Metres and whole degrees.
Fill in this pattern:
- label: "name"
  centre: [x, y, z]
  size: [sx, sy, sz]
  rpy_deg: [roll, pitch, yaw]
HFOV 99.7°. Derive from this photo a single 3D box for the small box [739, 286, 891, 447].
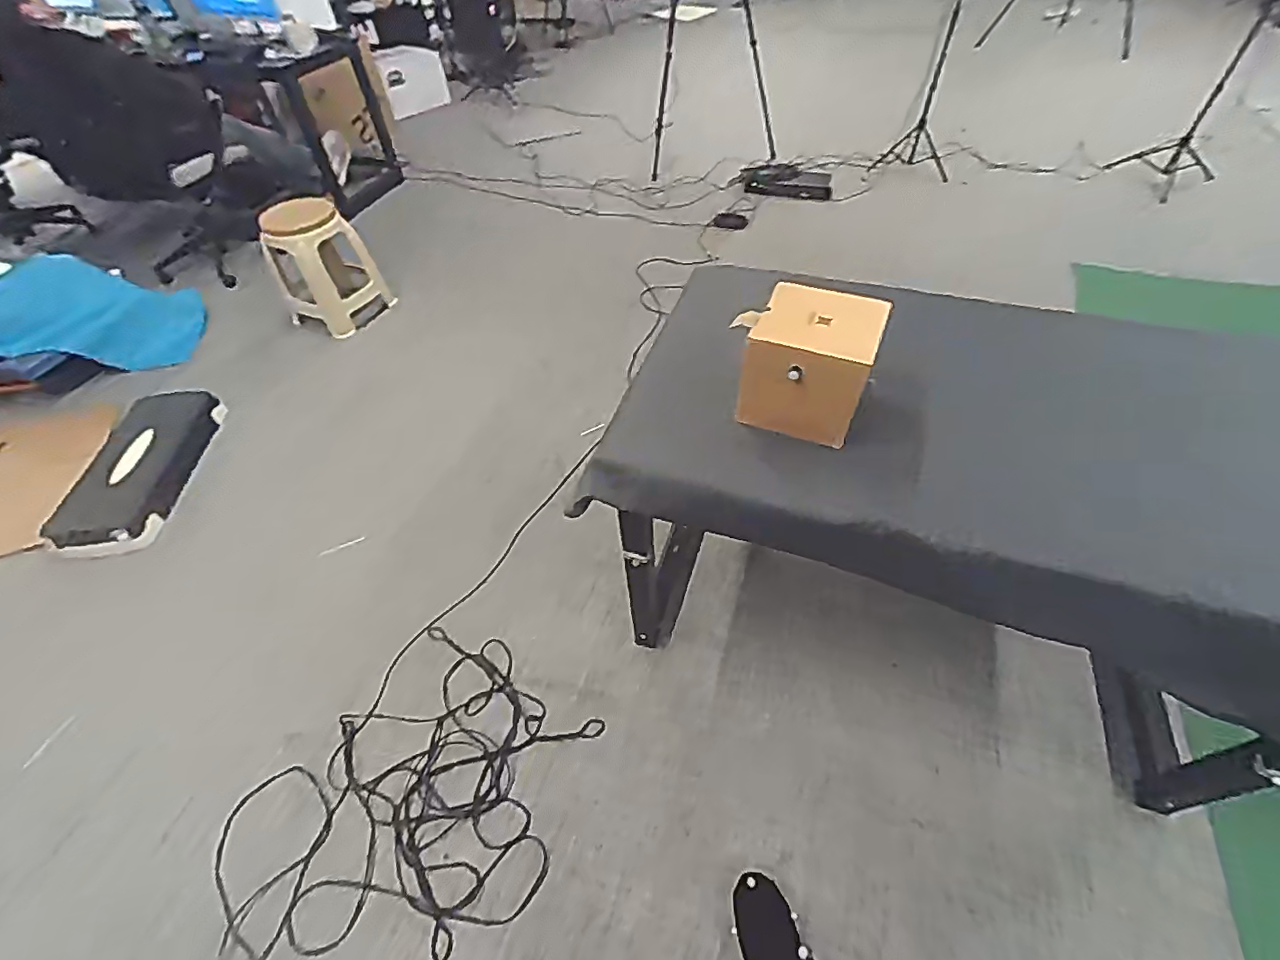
- label: "small box"
  centre: [0.270, -0.176, 0.858]
  size: [0.179, 0.176, 0.168]
  rpy_deg: [19, 52, 18]
